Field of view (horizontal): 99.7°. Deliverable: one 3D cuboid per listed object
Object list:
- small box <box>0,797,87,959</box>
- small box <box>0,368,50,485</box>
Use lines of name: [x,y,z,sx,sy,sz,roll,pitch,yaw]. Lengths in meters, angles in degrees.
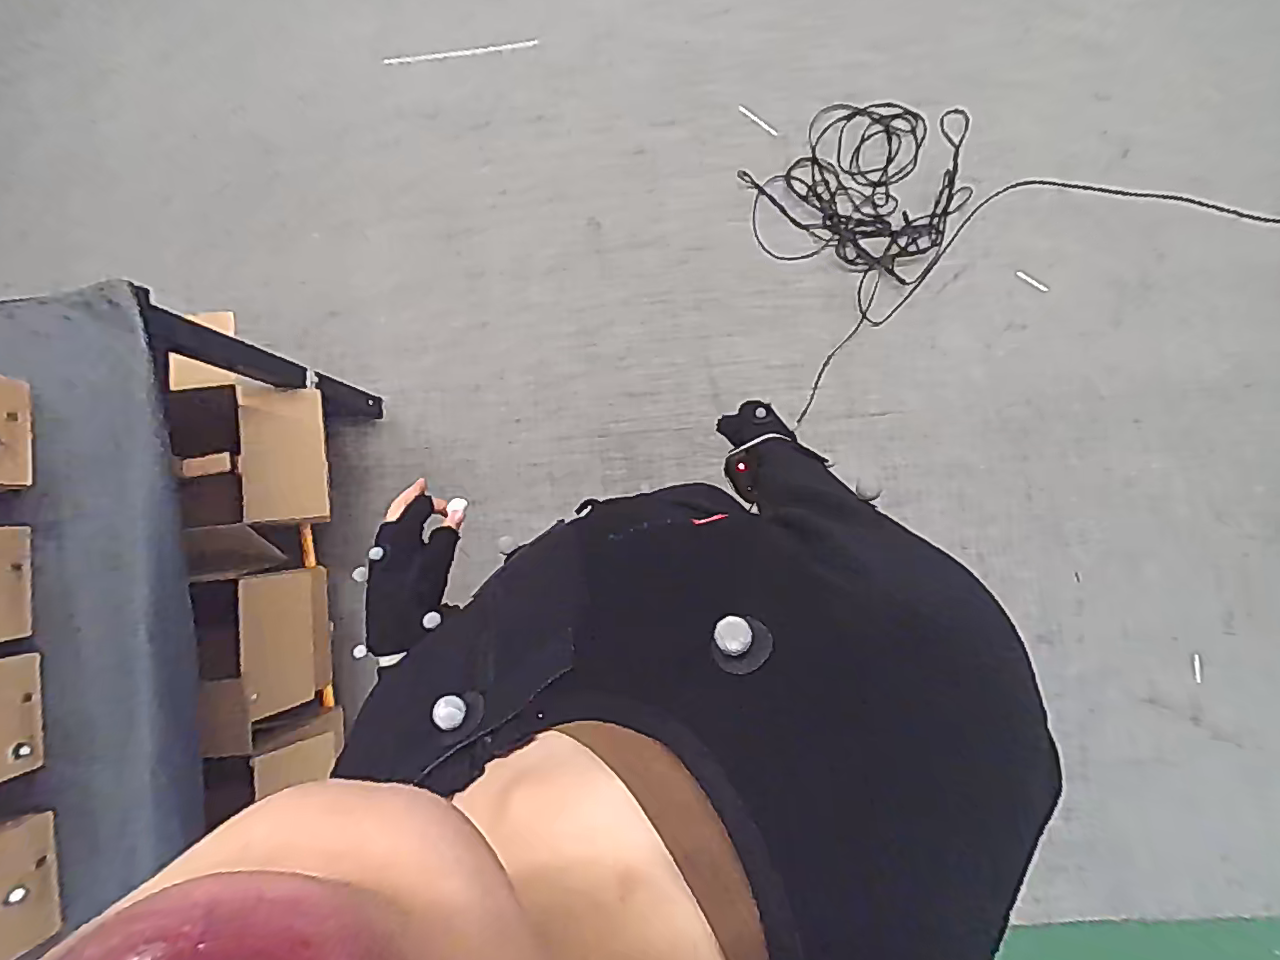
small box: [-0.912,0.557,0.723,0.179,0.176,0.168,-10,87,3]
small box: [-1.009,-0.076,0.765,0.179,0.176,0.168,-7,87,3]
